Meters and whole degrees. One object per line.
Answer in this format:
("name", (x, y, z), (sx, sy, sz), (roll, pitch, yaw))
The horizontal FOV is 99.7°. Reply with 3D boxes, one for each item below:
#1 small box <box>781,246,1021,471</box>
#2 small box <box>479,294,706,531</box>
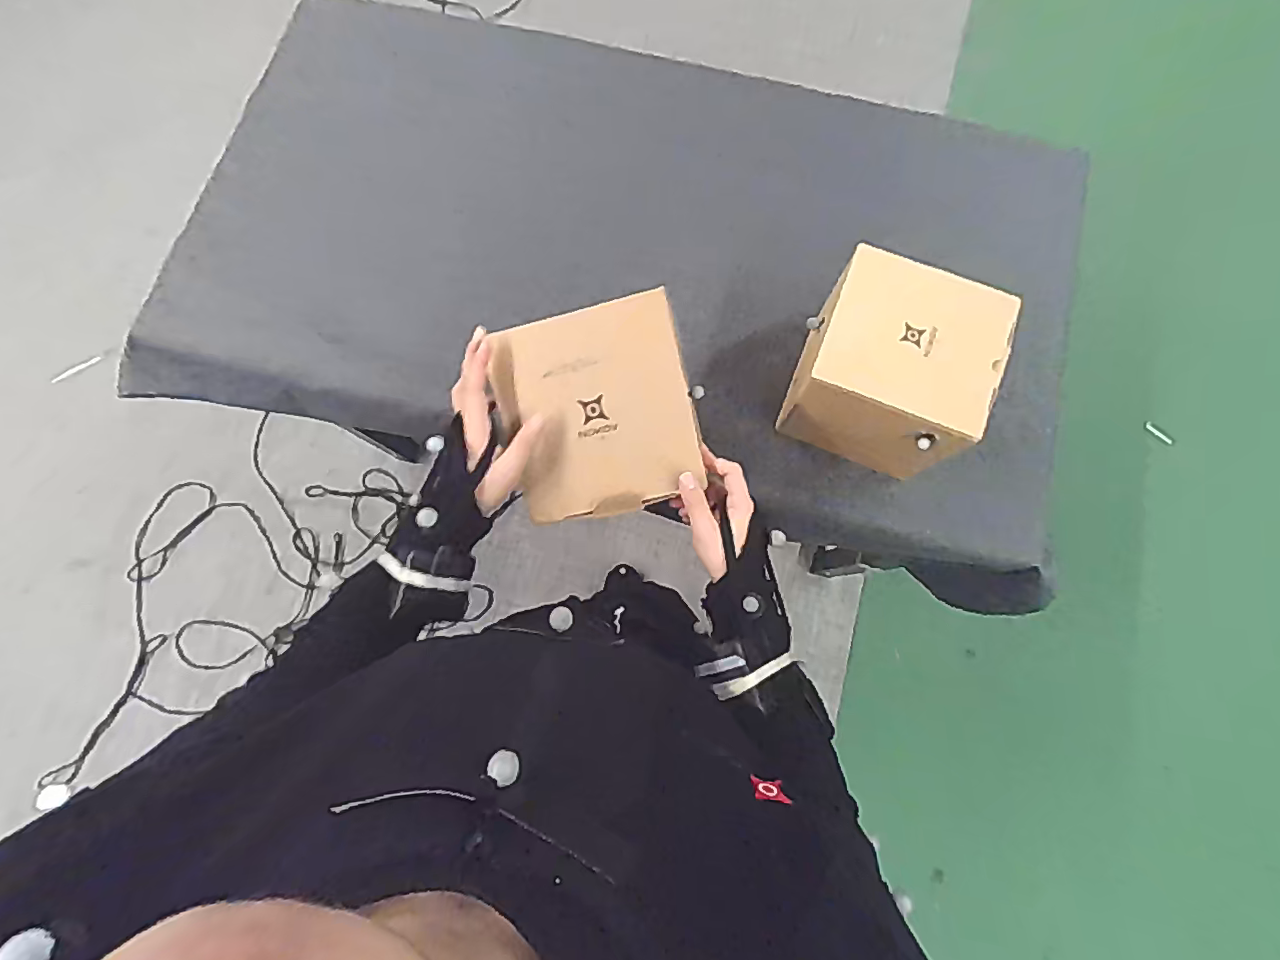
("small box", (0.281, -0.125, 0.620), (0.179, 0.176, 0.168), (21, 78, 5))
("small box", (-0.032, -0.068, 0.543), (0.168, 0.176, 0.179), (-14, 99, 7))
